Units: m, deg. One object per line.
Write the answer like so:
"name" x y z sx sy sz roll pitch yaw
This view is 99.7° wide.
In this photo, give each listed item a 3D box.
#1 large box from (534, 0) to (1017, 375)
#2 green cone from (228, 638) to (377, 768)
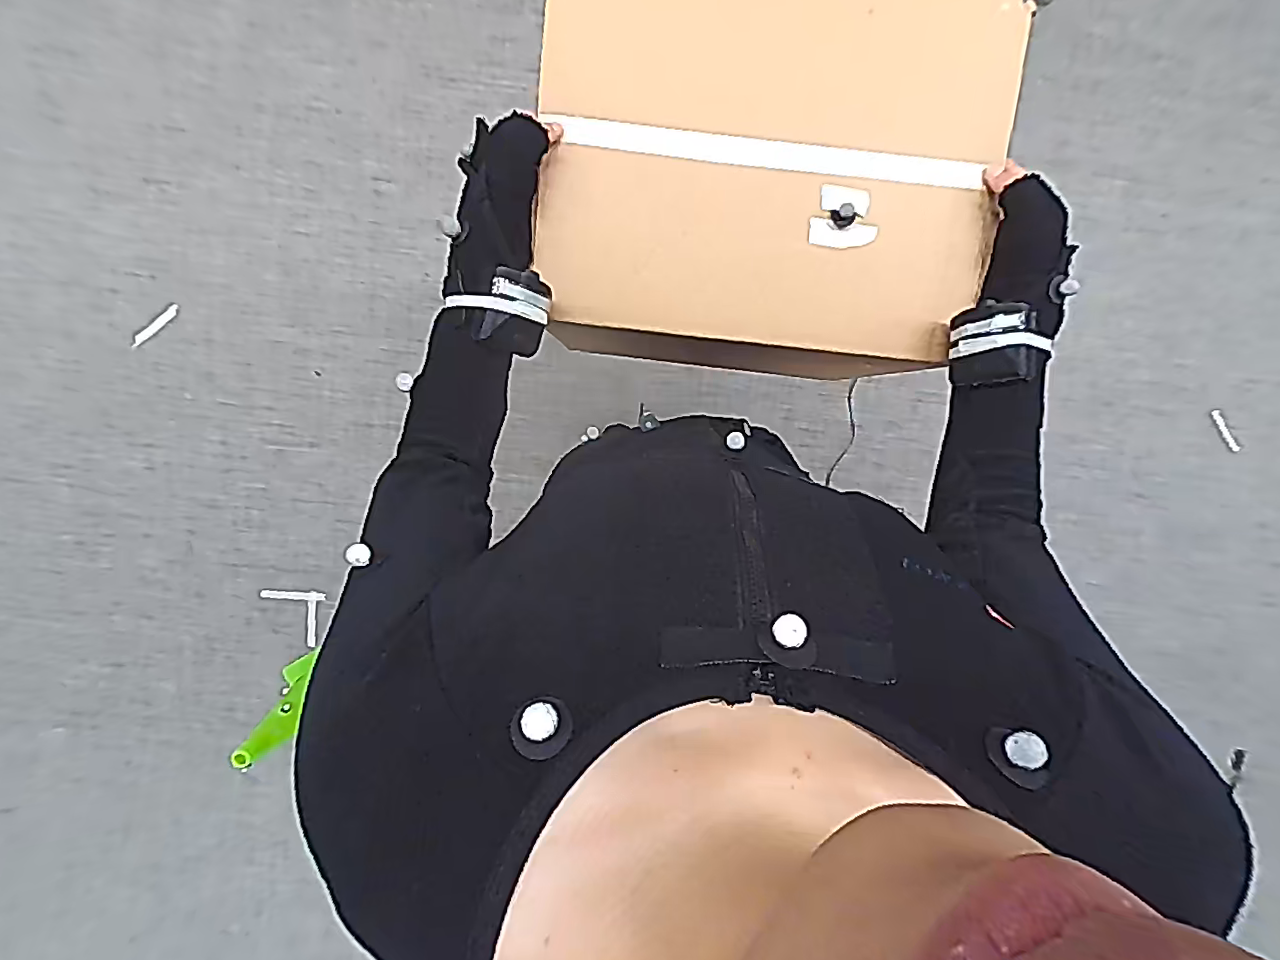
"large box" 0.108 -0.301 0.619 0.408 0.320 0.320 6 98 -3
"green cone" -0.861 0.578 1.336 0.202 0.368 0.200 -31 95 3
